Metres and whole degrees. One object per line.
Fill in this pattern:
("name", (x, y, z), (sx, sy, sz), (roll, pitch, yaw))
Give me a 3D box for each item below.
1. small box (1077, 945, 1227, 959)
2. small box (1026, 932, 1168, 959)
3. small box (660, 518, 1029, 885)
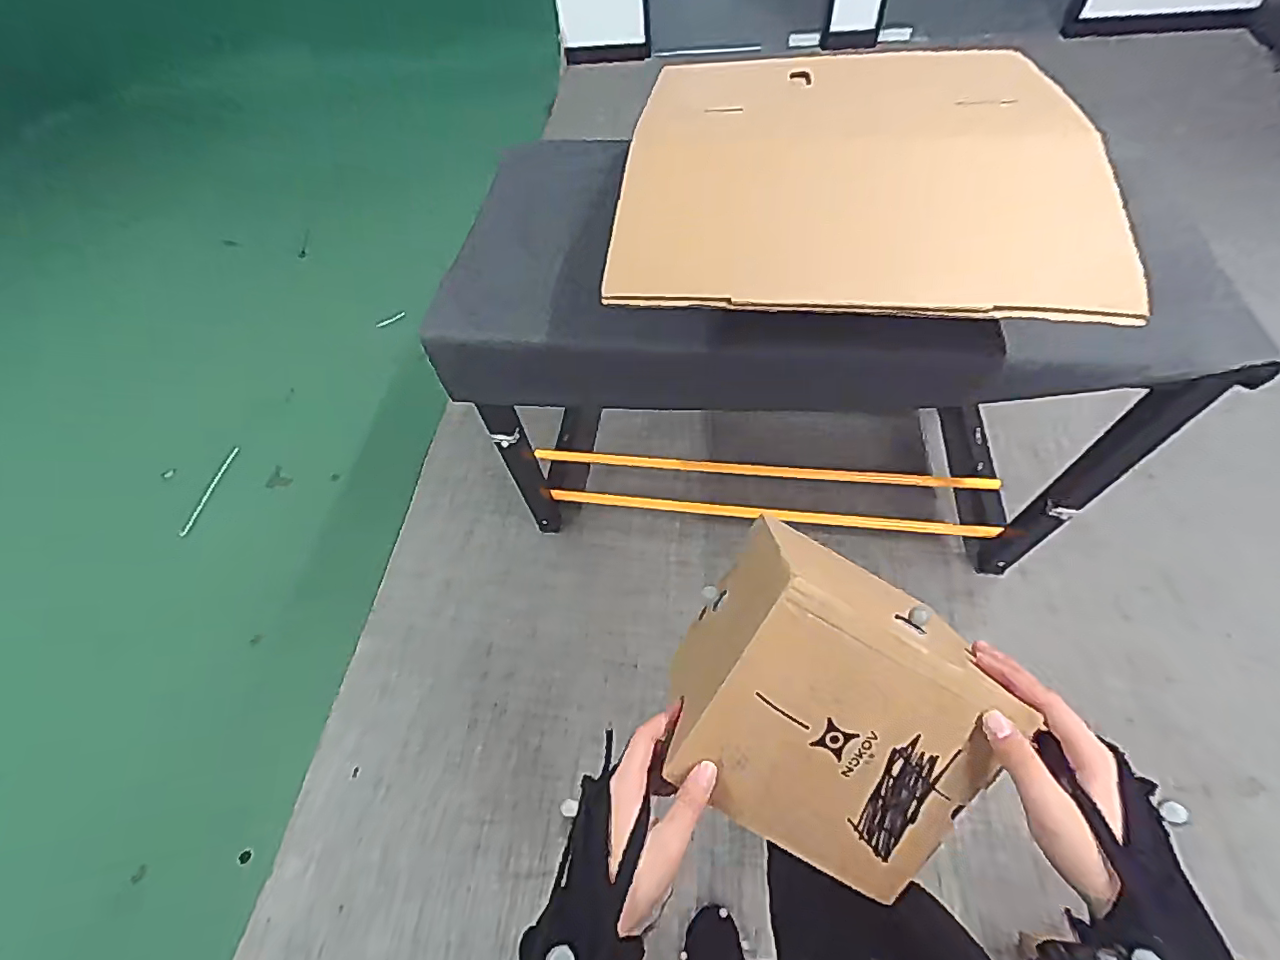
("small box", (0.753, 0.747, 0.726), (0.179, 0.176, 0.168), (-2, 56, 5))
("small box", (0.760, 0.843, 0.858), (0.168, 0.176, 0.179), (-1, 57, 5))
("small box", (0.135, 0.149, 0.424), (0.179, 0.176, 0.168), (30, 101, 1))
